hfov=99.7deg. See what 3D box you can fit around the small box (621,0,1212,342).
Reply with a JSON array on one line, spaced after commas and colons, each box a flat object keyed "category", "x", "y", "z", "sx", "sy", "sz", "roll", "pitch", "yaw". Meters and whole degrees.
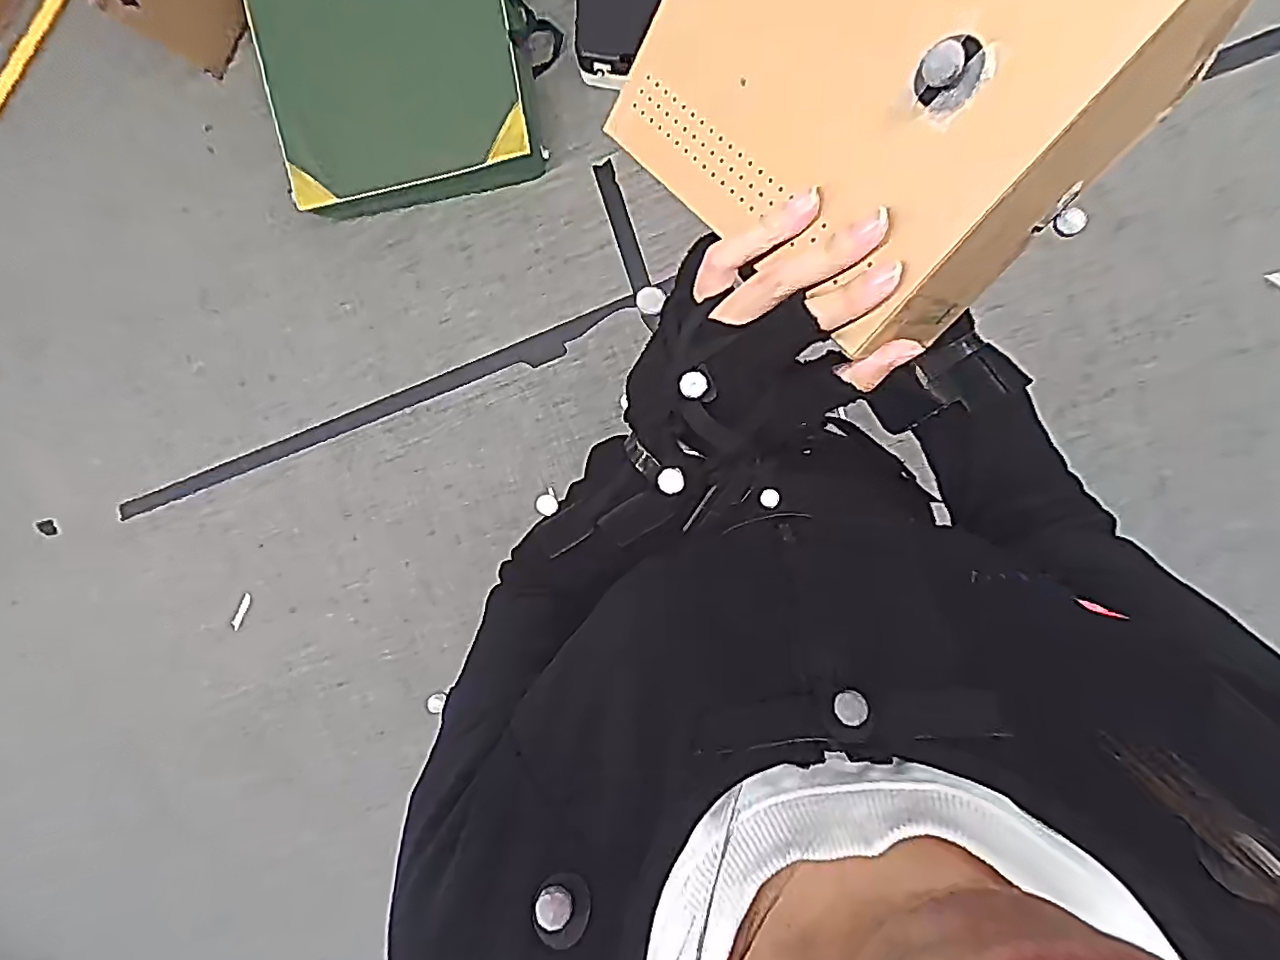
[{"category": "small box", "x": 0.125, "y": -0.189, "z": 0.282, "sx": 0.179, "sy": 0.168, "sz": 0.176, "roll": 50, "pitch": 126, "yaw": 17}]
